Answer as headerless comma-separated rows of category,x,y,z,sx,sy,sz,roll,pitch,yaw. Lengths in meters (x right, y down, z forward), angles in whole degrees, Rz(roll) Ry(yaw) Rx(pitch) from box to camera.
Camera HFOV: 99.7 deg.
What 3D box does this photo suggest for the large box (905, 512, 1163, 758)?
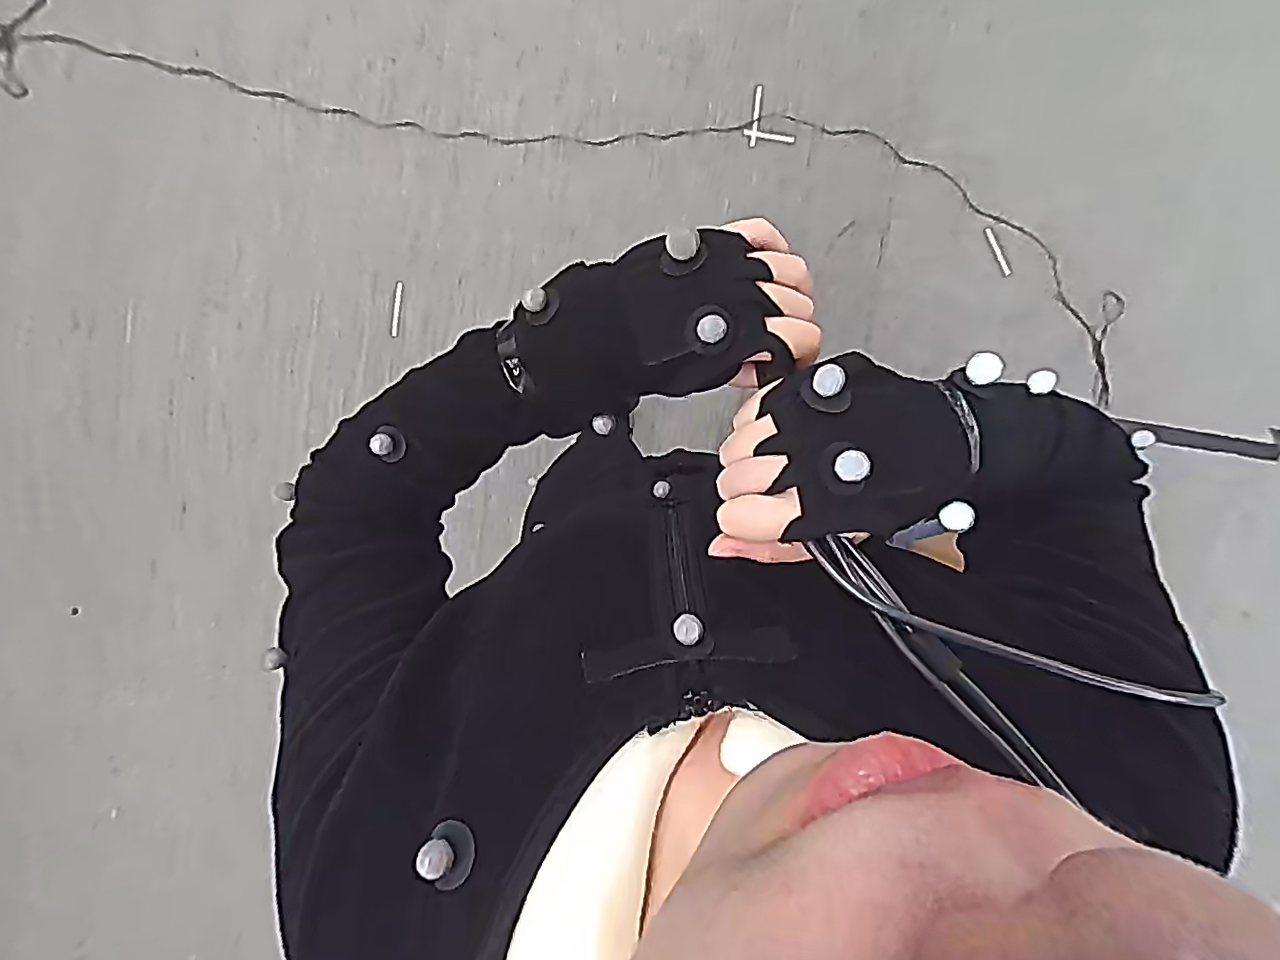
large box,0.859,0.320,1.221,0.320,0.320,0.408,-14,96,0
